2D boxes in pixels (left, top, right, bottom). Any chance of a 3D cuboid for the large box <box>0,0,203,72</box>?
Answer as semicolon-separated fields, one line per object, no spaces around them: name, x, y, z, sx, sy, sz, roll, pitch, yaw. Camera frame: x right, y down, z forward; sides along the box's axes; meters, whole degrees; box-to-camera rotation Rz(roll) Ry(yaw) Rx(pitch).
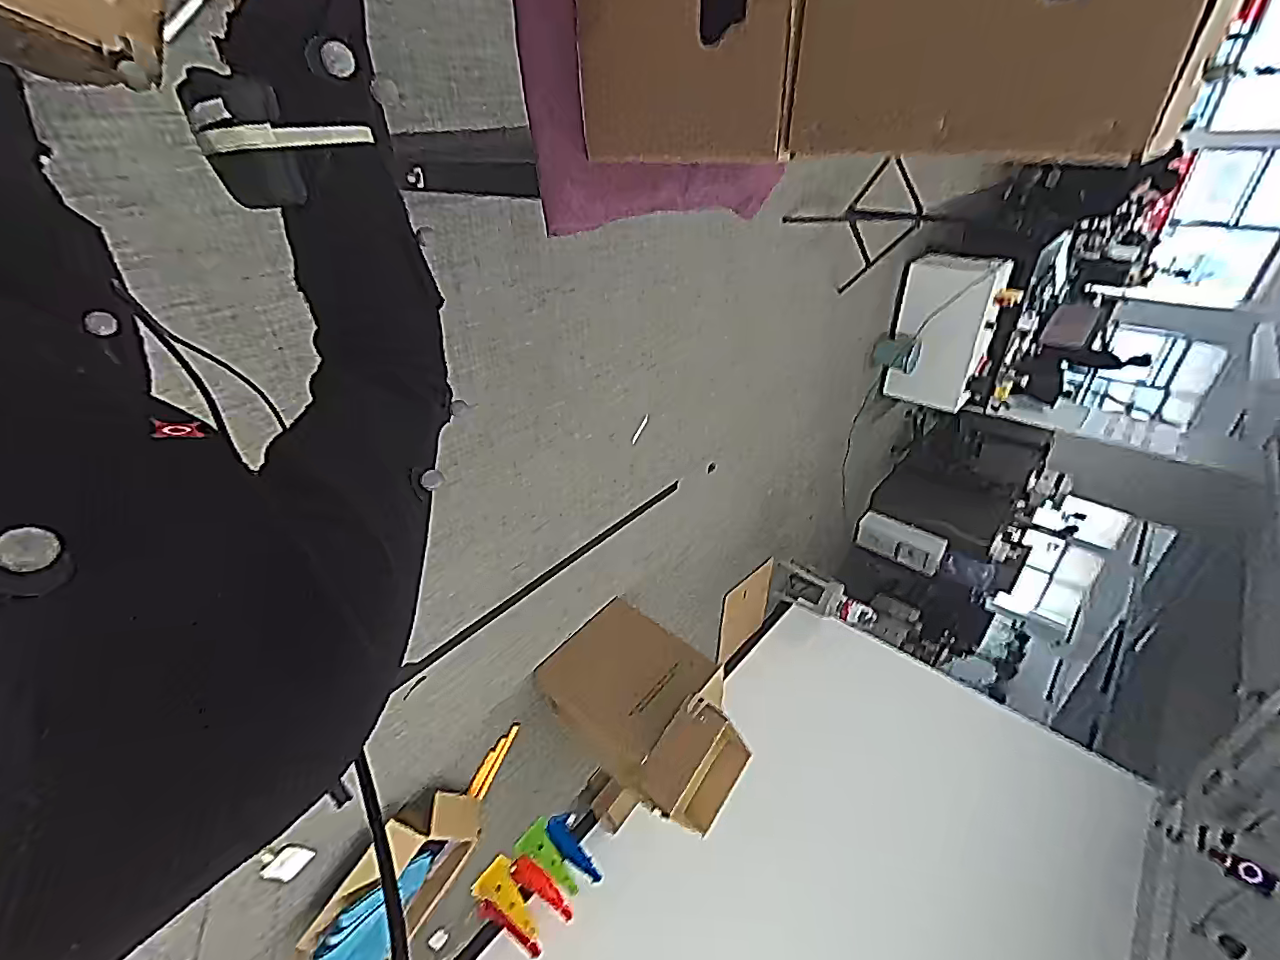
large box;-0.377;-0.445;0.183;0.320;0.320;0.408;-4;118;-52
